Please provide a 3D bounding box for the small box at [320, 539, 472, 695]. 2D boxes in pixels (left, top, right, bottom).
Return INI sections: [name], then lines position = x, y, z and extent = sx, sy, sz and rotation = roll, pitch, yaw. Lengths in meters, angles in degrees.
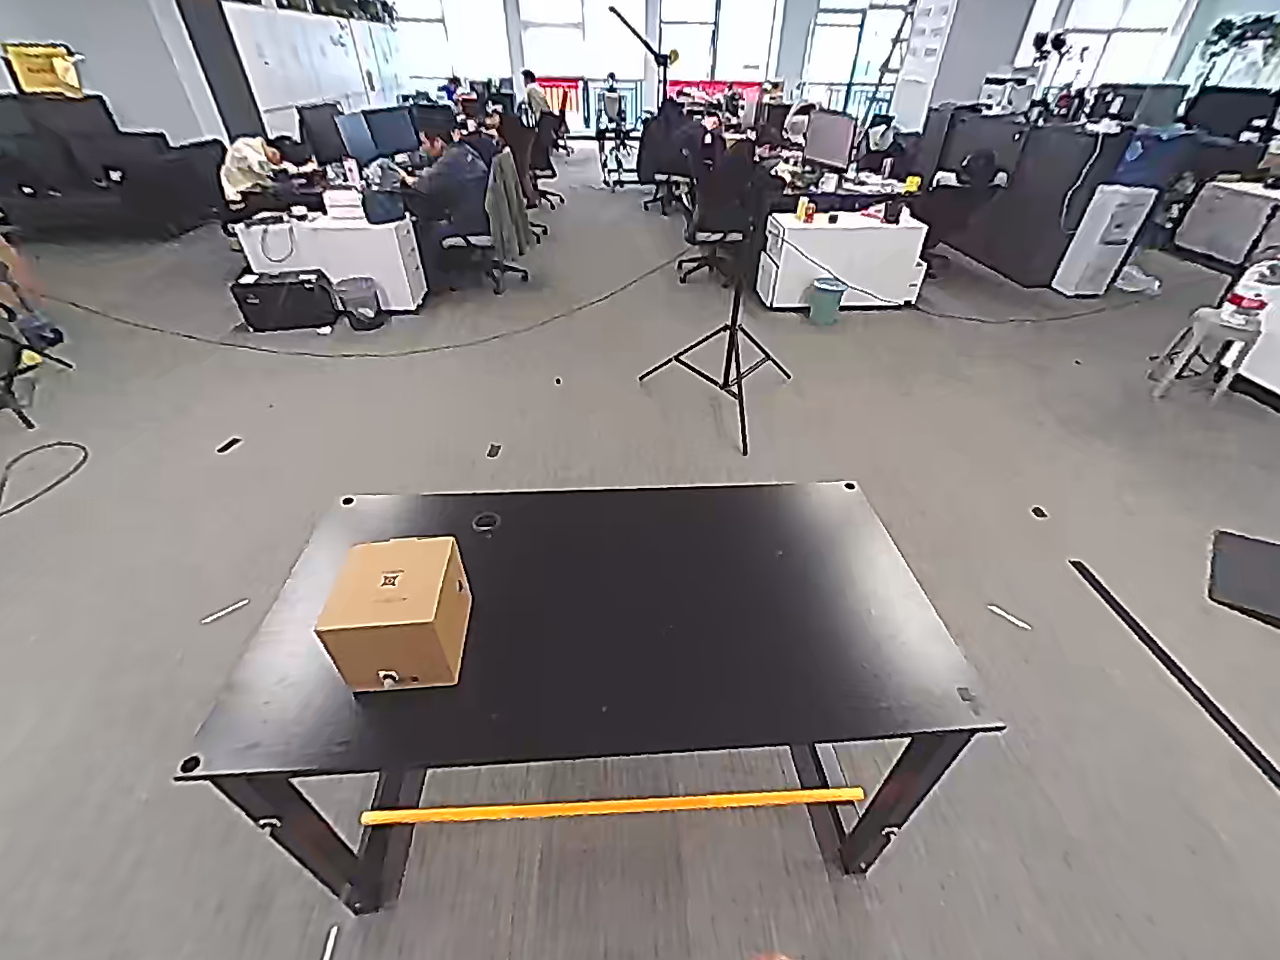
[small box]
position = -0.377, 0.220, 0.876
extent = 0.168, 0.176, 0.179
rotation = -4, 39, -5
